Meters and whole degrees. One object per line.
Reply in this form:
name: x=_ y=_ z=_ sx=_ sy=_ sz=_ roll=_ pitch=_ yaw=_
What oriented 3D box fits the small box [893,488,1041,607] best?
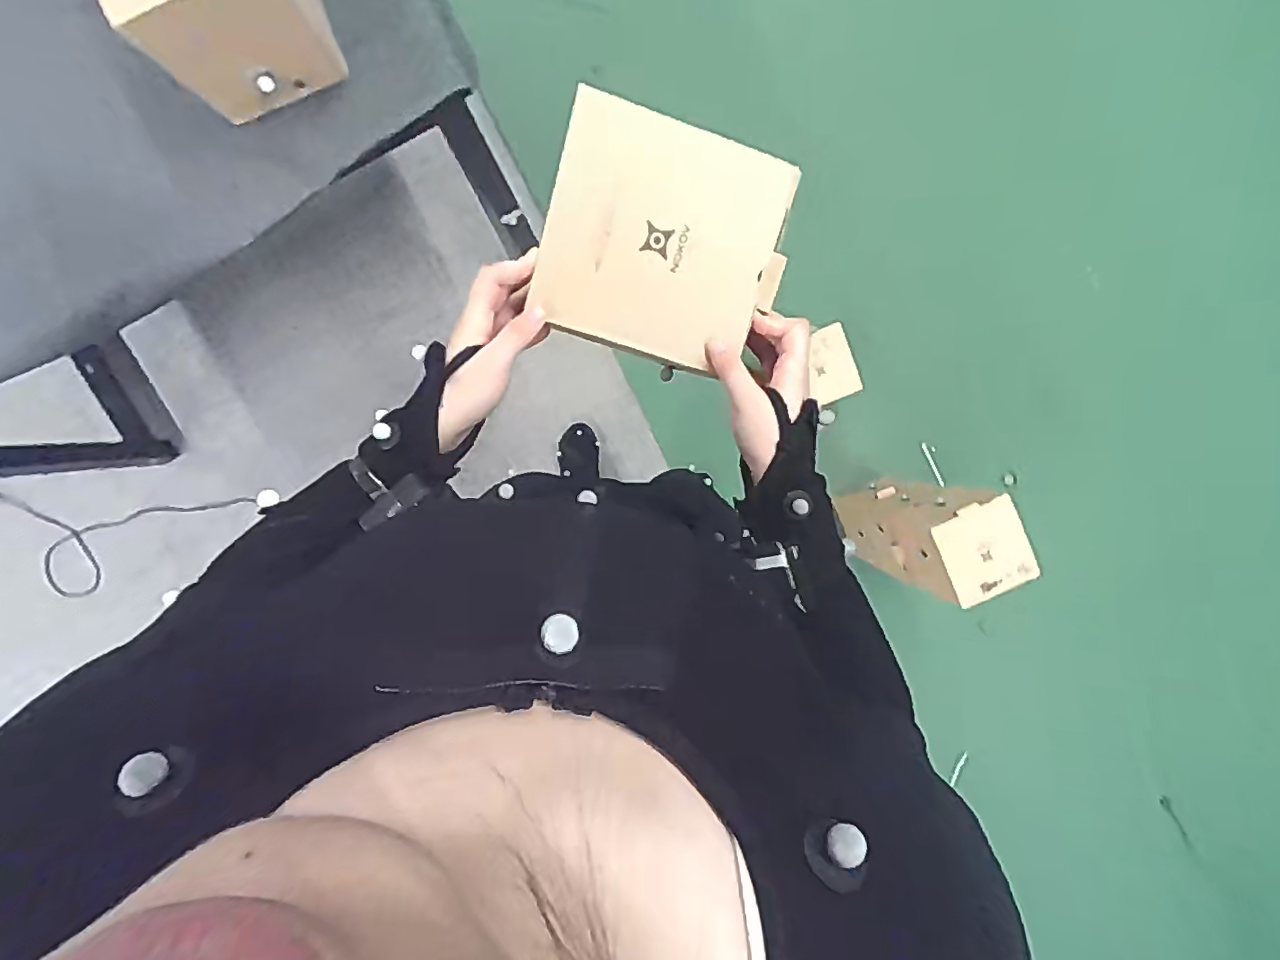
small box: x=0.647 y=0.125 z=1.091 sx=0.168 sy=0.176 sz=0.179 roll=-24 pitch=95 yaw=1

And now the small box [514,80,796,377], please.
small box: x=0.004 y=-0.197 z=0.476 sx=0.179 sy=0.176 sz=0.168 roll=15 pitch=100 yaw=-7

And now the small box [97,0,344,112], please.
small box: x=-0.472 y=-0.562 z=0.595 sx=0.168 sy=0.176 sz=0.179 roll=-22 pitch=94 yaw=2

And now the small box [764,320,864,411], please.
small box: x=0.435 y=-0.284 z=1.375 sx=0.168 sy=0.176 sz=0.179 roll=-21 pitch=95 yaw=1

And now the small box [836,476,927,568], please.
small box: x=0.645 y=0.103 z=1.419 sx=0.168 sy=0.176 sz=0.179 roll=-23 pitch=95 yaw=2
